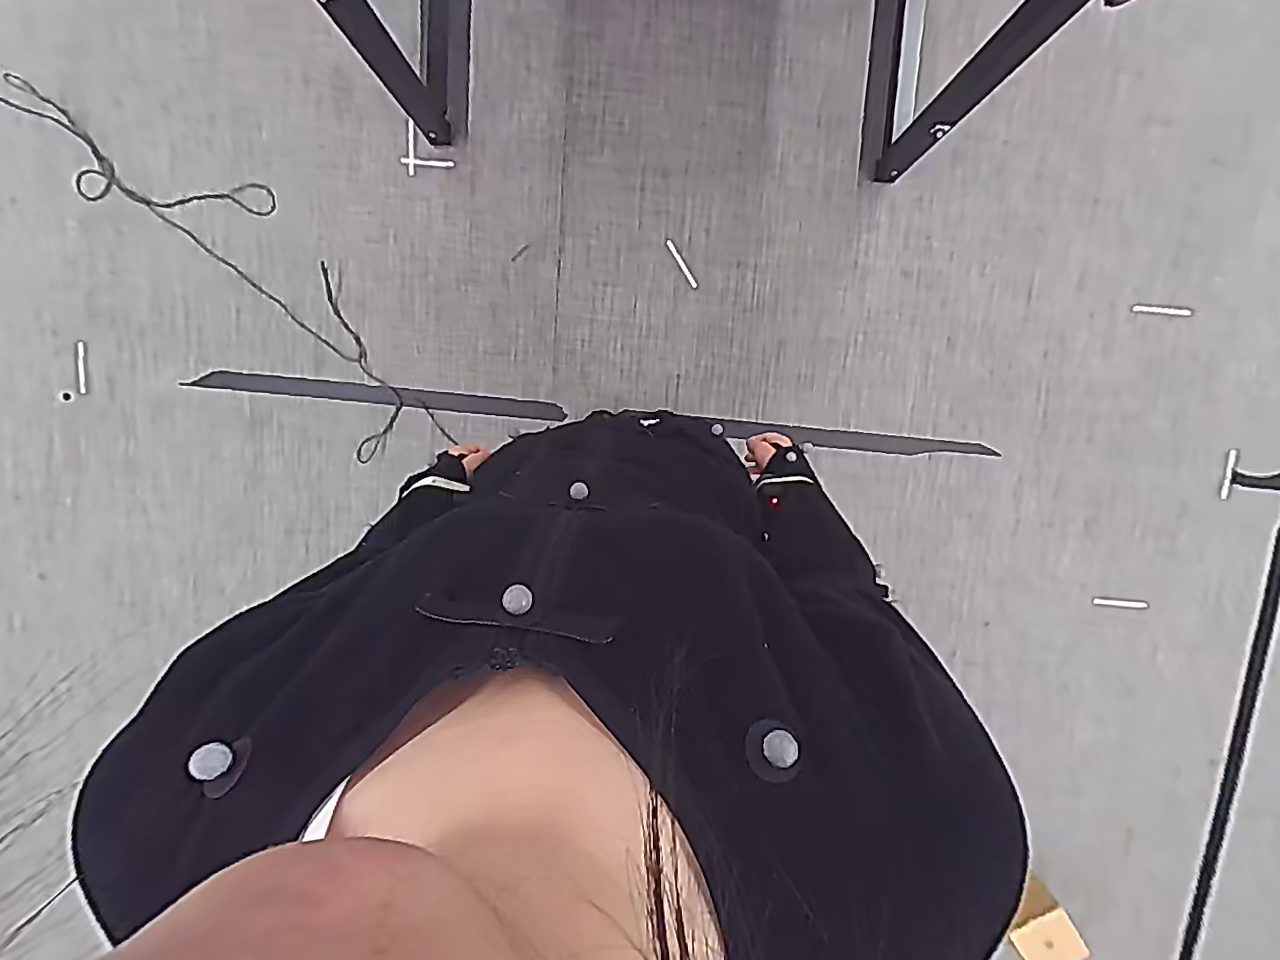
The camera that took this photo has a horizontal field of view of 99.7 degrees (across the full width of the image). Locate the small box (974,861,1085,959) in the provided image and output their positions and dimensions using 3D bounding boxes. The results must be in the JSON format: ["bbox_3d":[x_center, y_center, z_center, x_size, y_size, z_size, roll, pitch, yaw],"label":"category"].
[{"bbox_3d":[1.120,1.257,1.570,0.168,0.176,0.179,-33,97,5],"label":"small box"}]
